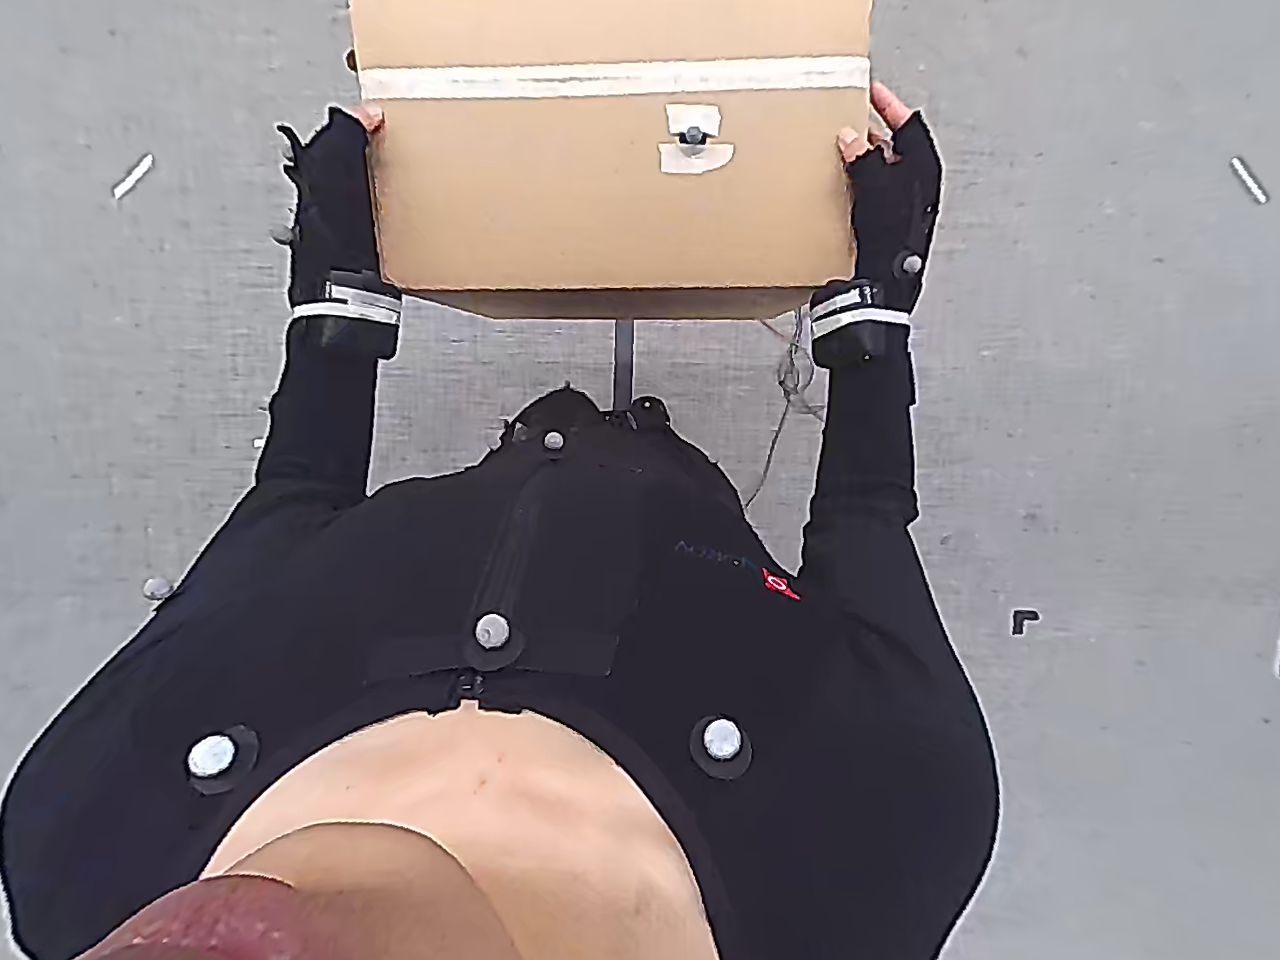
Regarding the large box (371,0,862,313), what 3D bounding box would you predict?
[{"bbox_3d":[-0.019,-0.362,0.592,0.408,0.320,0.320,0,103,1],"label":"large box"}]
